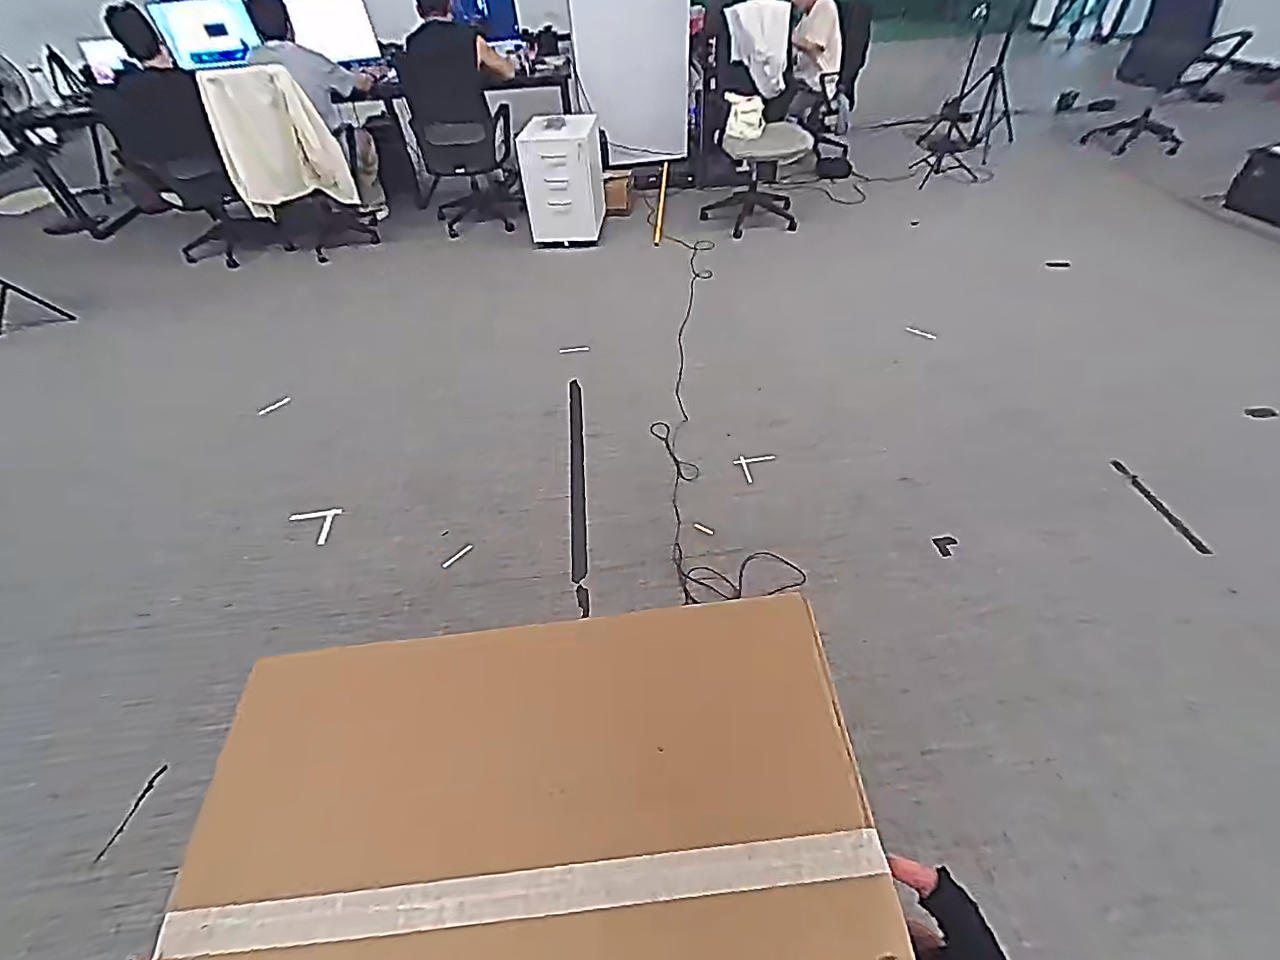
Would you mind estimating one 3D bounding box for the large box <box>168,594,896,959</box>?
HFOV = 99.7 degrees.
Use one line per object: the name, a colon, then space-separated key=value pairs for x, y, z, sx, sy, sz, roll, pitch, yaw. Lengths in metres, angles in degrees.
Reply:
large box: x=-0.055 y=0.319 z=0.430 sx=0.408 sy=0.320 sz=0.320 roll=-8 pitch=53 yaw=1
